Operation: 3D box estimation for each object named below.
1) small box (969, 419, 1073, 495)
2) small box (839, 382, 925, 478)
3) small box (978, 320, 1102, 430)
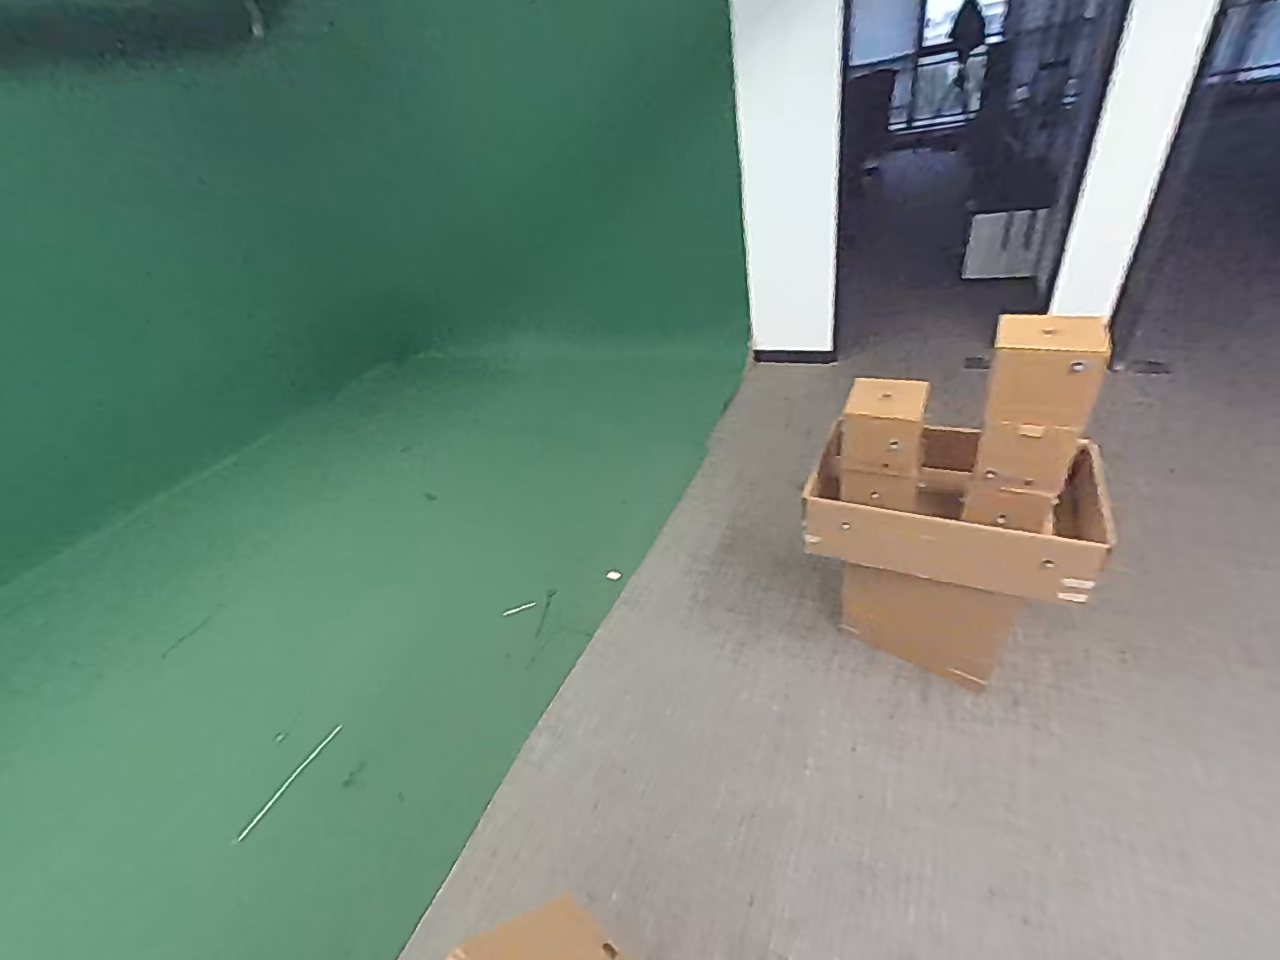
[{"bbox_3d":[0.852,-0.088,1.216,0.168,0.176,0.179,12,42,29],"label":"small box"},{"bbox_3d":[0.595,-0.124,1.339,0.168,0.176,0.179,11,41,28],"label":"small box"},{"bbox_3d":[0.821,-0.218,1.123,0.179,0.176,0.168,12,42,28],"label":"small box"}]
